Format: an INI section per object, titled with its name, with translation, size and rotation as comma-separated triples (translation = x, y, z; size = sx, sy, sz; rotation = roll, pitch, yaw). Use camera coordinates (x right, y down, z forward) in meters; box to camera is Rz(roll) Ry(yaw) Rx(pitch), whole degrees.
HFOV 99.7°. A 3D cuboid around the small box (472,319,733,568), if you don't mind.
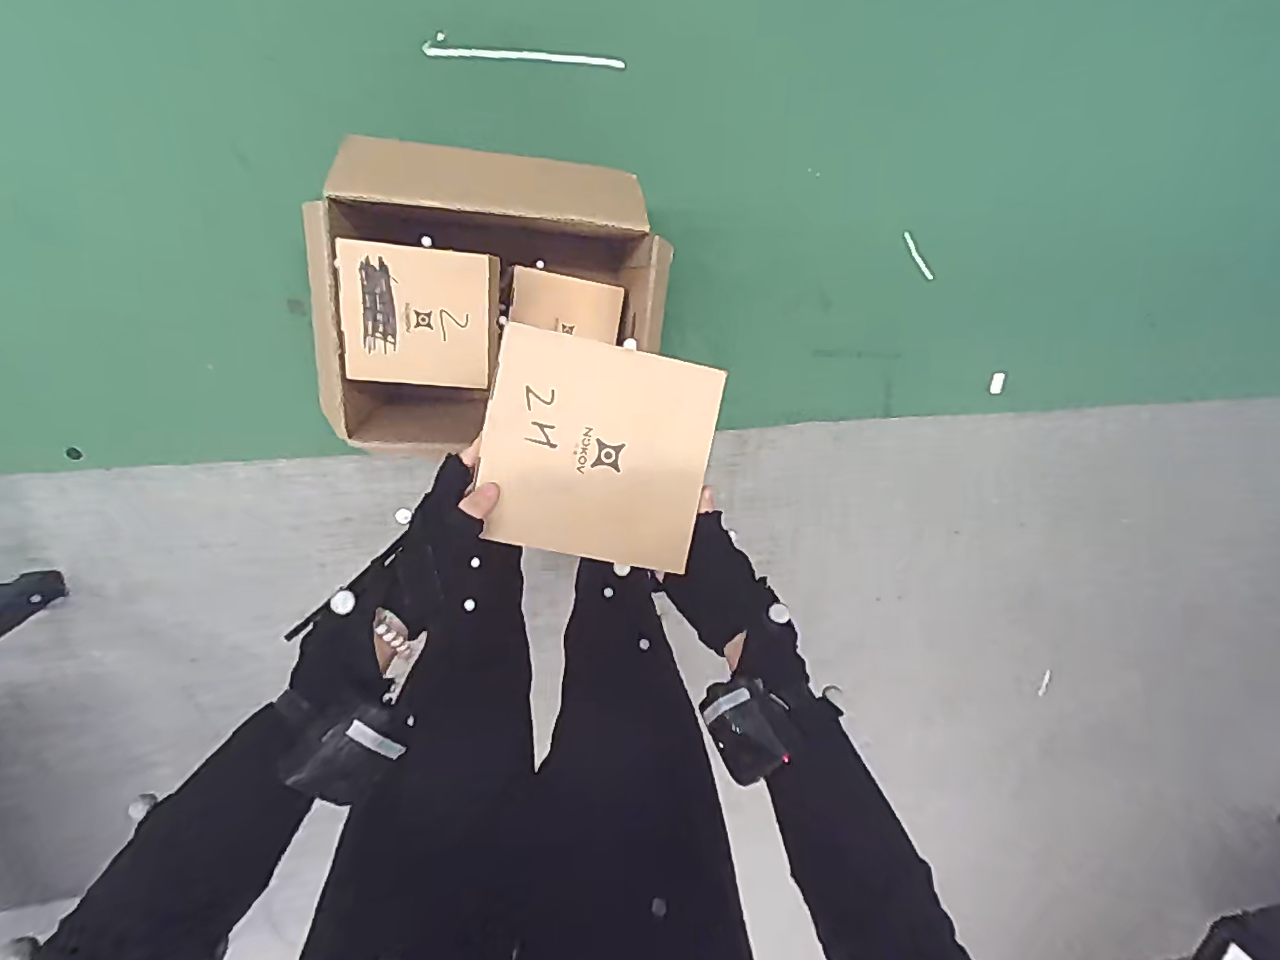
[small box]
translation = -0.037, -0.030, 0.500
size = 0.179, 0.176, 0.168
rotation = 13, 91, -8
